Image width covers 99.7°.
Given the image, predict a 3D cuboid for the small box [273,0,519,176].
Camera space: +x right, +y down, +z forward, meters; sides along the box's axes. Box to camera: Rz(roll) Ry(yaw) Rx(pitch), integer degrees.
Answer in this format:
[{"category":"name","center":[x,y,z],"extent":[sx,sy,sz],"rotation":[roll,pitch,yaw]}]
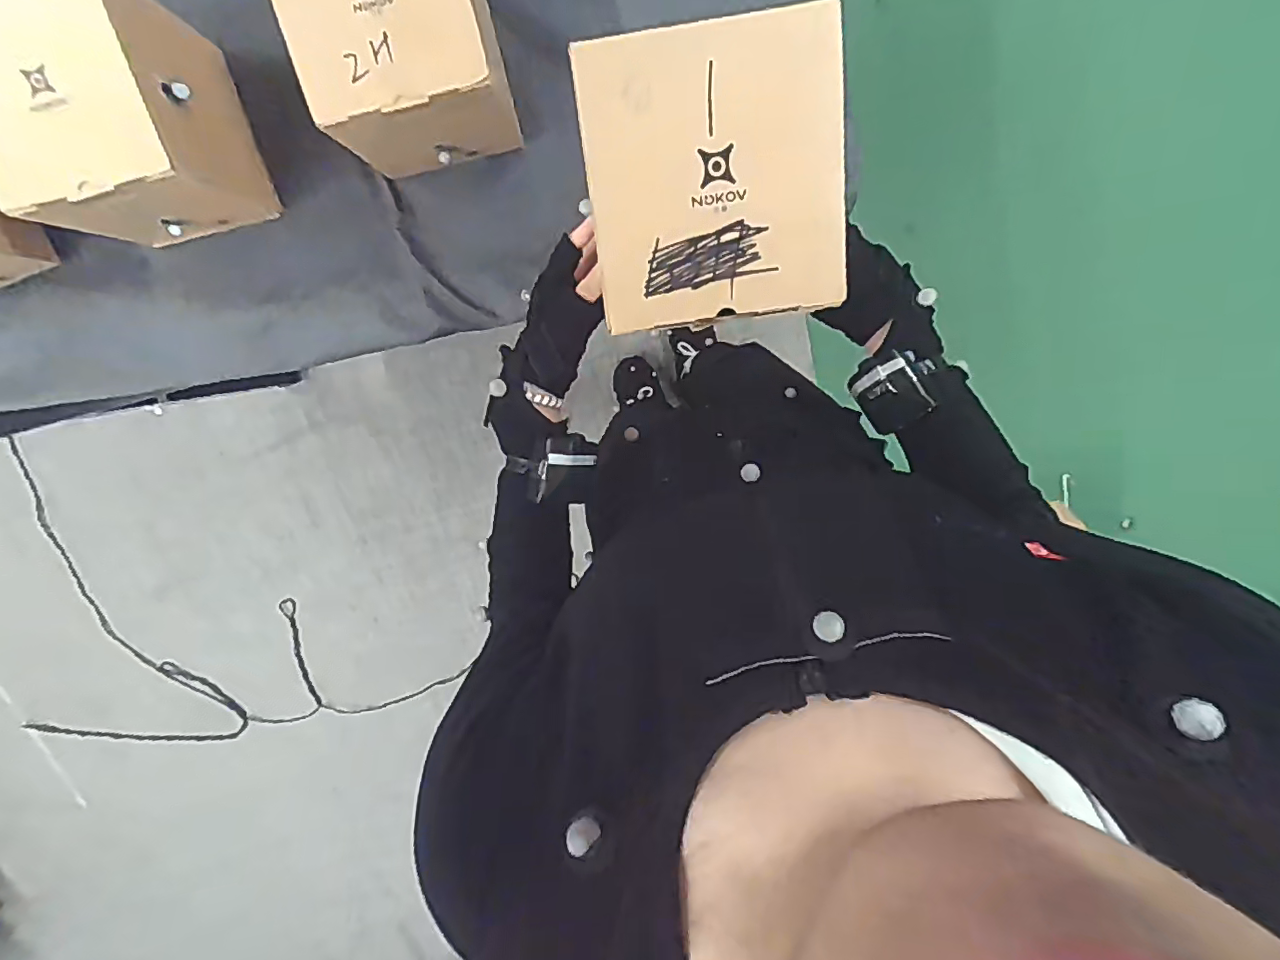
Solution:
[{"category":"small box","center":[-0.232,-0.434,0.534],"extent":[0.168,0.176,0.179],"rotation":[-13,105,1]}]

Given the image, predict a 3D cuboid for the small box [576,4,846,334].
[{"category":"small box","center":[0.052,-0.218,0.427],"extent":[0.168,0.176,0.179],"rotation":[-7,107,3]}]

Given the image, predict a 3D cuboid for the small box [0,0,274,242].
[{"category":"small box","center":[-0.520,-0.359,0.541],"extent":[0.168,0.176,0.179],"rotation":[-14,106,0]}]
